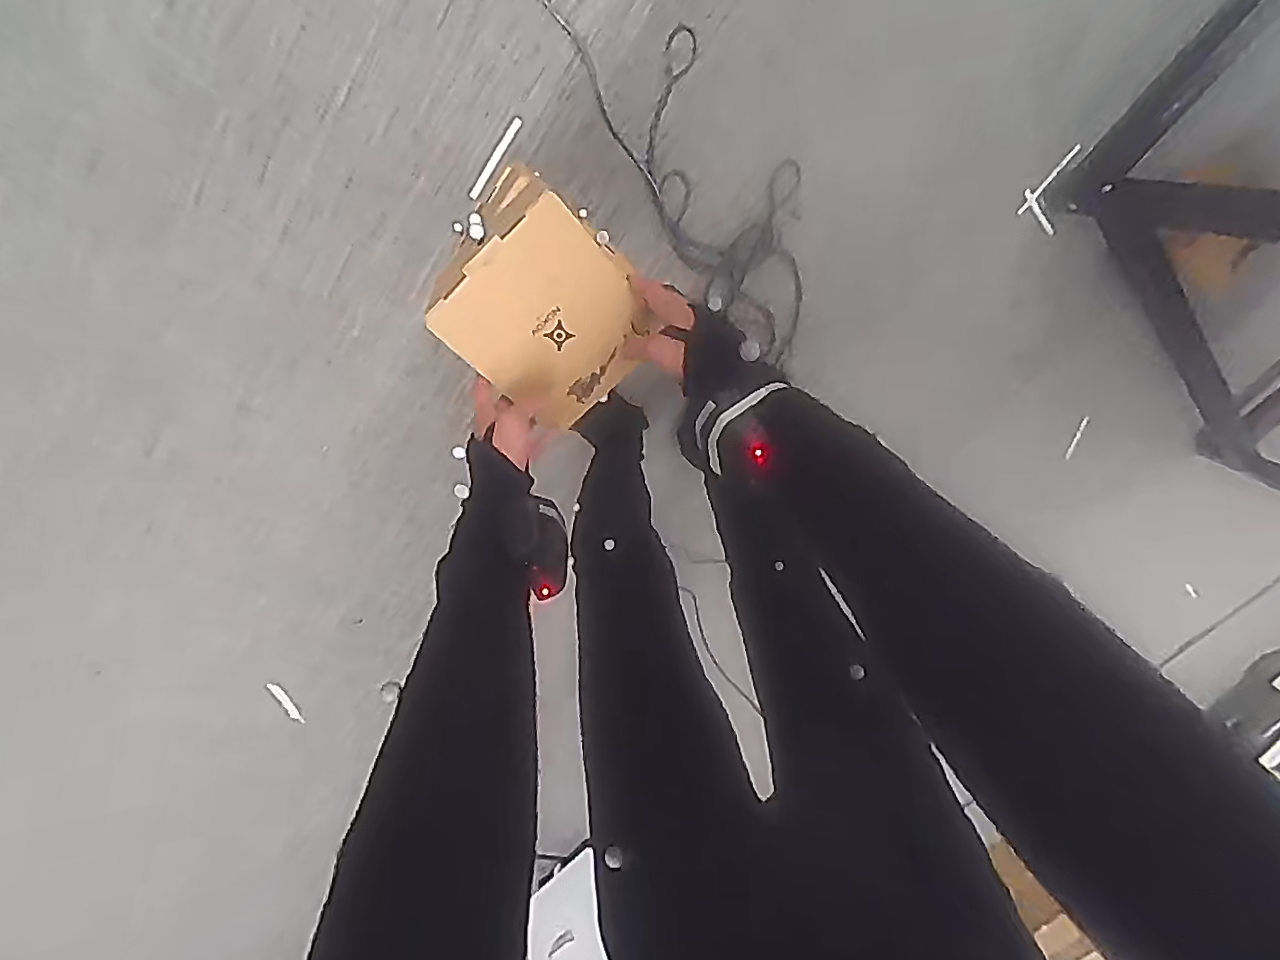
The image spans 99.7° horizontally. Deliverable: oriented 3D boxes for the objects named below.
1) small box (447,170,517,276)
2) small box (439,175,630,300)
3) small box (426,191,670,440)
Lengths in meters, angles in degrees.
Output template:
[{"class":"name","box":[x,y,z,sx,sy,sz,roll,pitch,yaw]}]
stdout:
[{"class":"small box","box":[-0.179,-0.355,0.848,0.179,0.176,0.168,30,110,-30]},{"class":"small box","box":[-0.140,-0.270,0.715,0.168,0.176,0.179,32,109,-30]},{"class":"small box","box":[-0.099,-0.182,0.583,0.168,0.176,0.179,-40,122,11]}]
